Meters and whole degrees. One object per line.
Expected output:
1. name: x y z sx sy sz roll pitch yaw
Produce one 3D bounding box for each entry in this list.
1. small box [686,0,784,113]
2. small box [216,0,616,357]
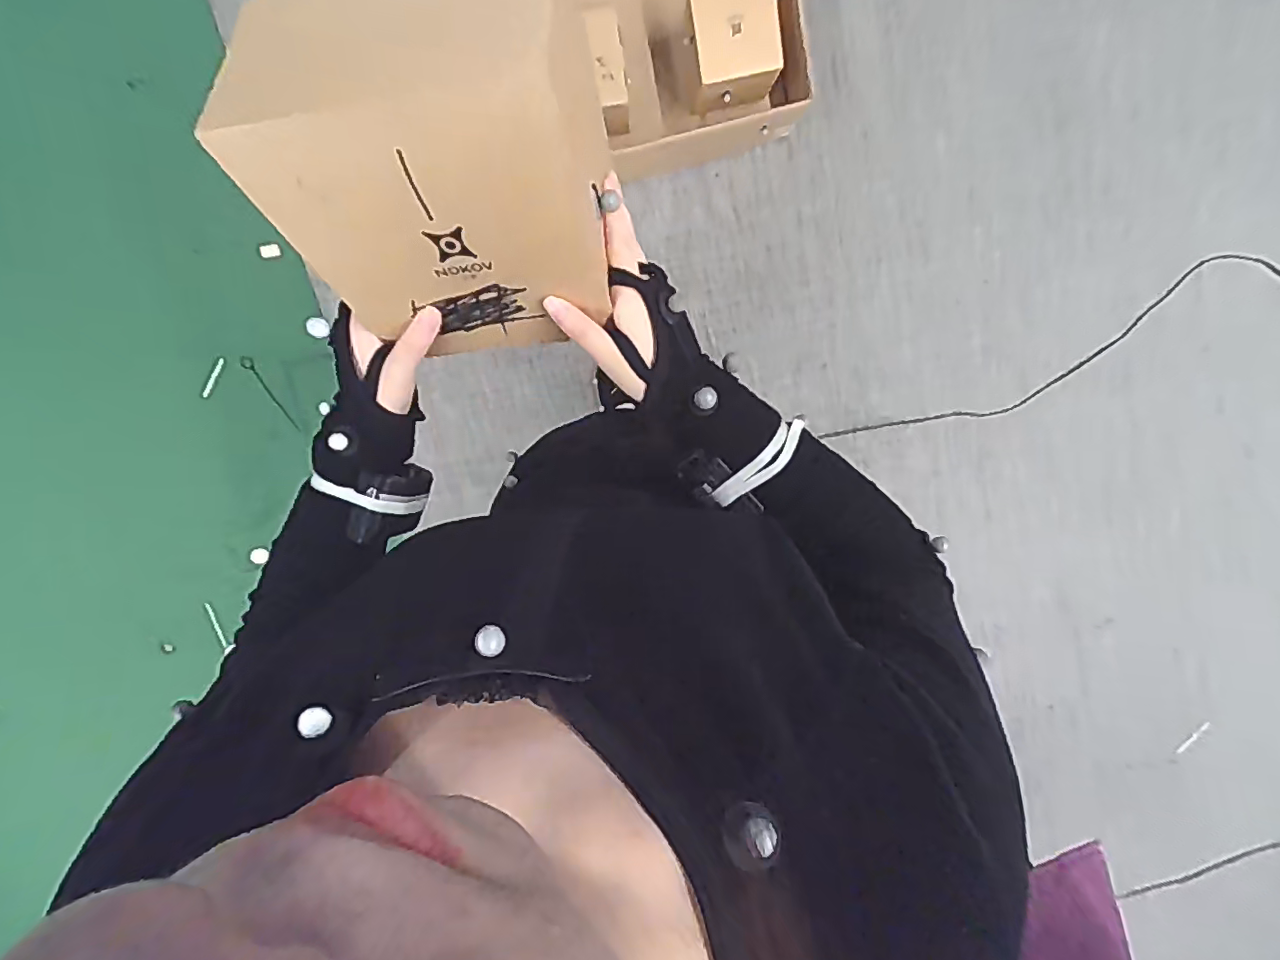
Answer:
1. small box: 0.194 -0.900 1.130 0.168 0.176 0.179 -11 105 3
2. small box: -0.108 -0.206 0.348 0.168 0.179 0.176 -5 66 6
